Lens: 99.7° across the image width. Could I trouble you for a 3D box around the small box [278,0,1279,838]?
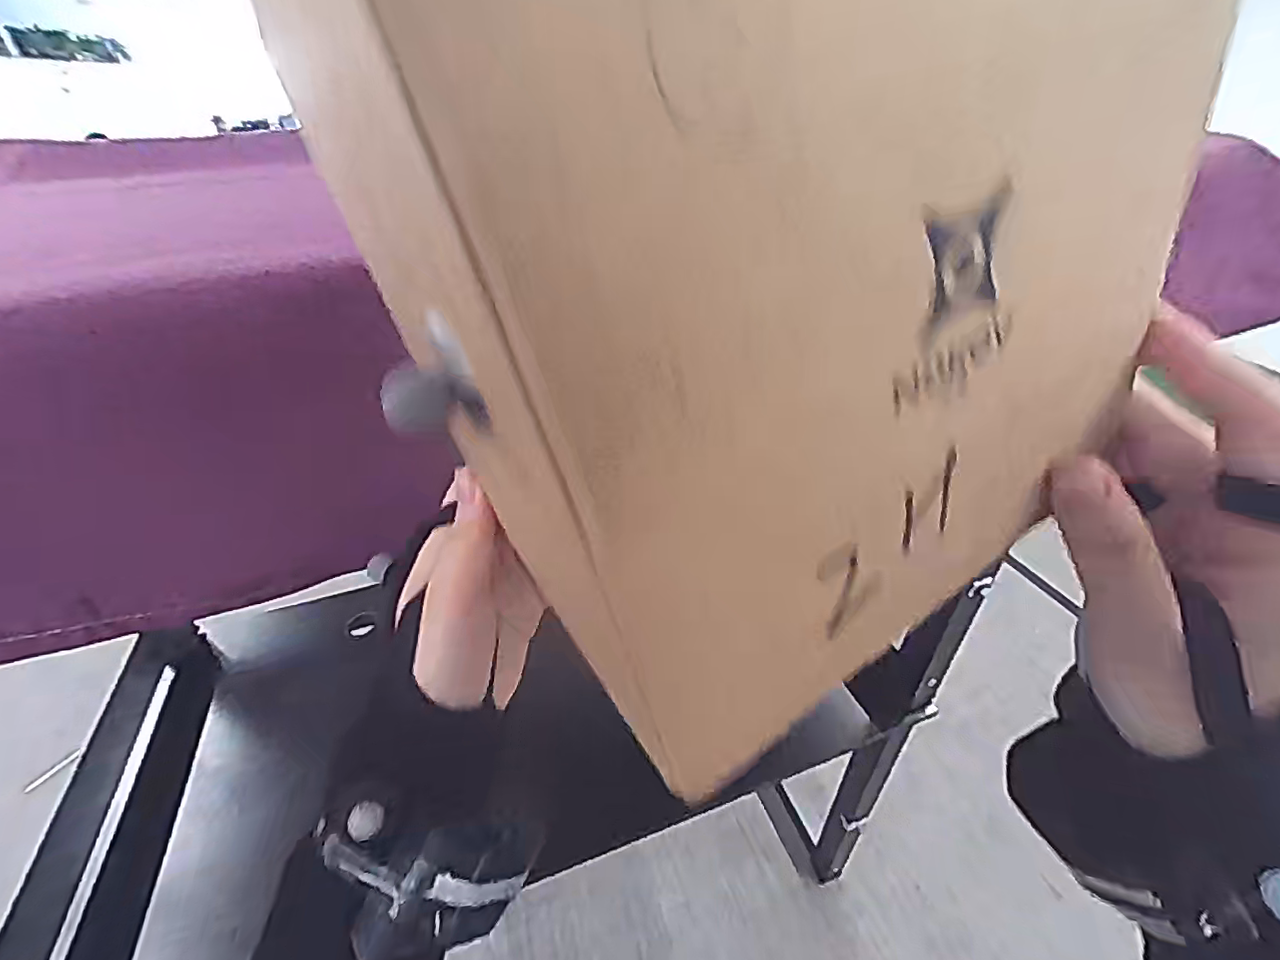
[{"bbox_3d":[0.021,-0.057,0.159,0.168,0.179,0.176,-28,36,-19],"label":"small box"}]
